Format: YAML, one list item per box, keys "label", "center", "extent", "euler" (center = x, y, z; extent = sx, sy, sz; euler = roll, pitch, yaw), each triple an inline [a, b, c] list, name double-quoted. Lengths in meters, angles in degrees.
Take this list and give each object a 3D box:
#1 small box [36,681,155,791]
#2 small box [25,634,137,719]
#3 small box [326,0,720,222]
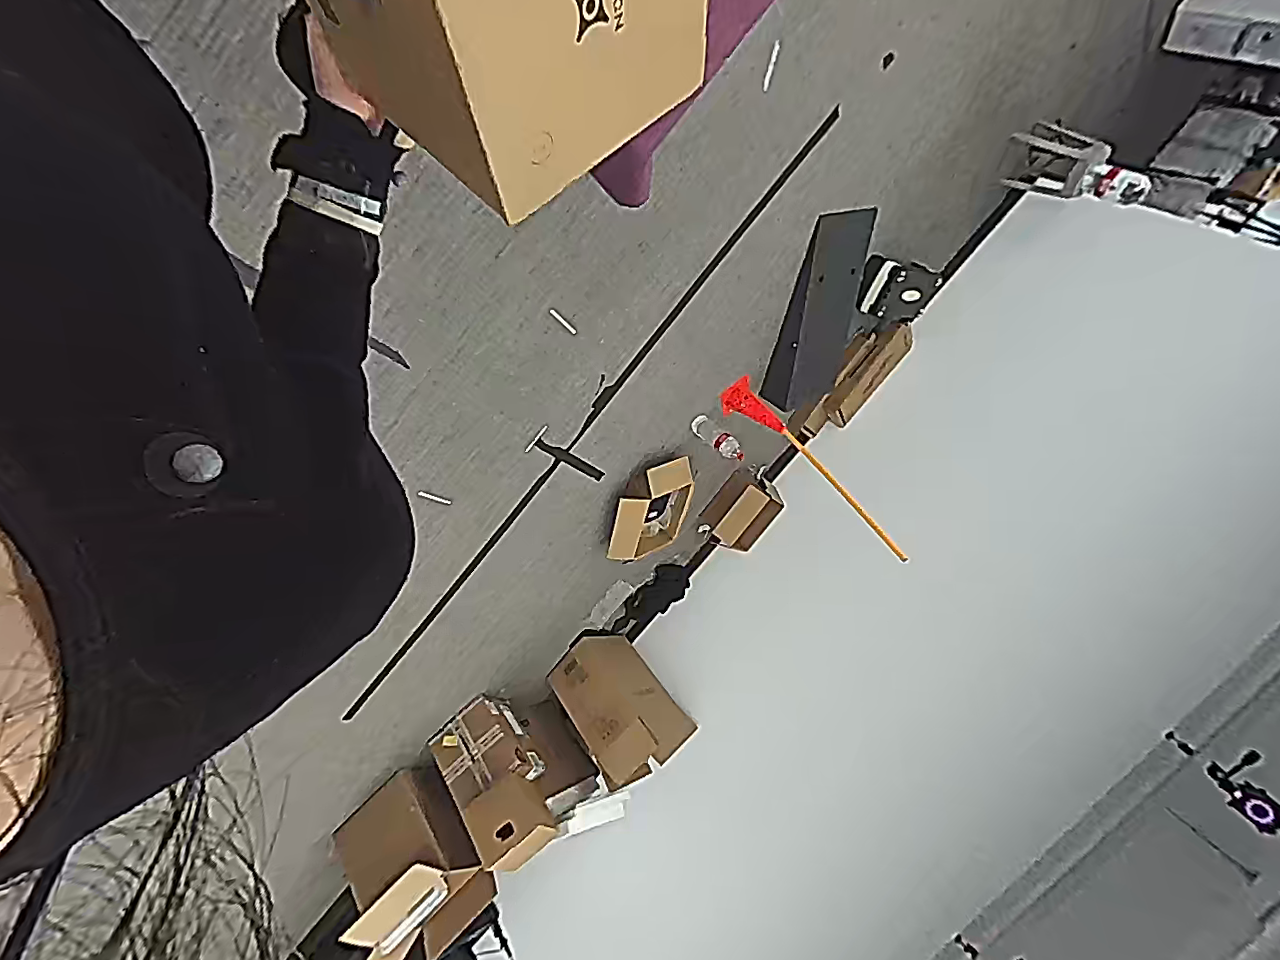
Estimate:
- label: "small box"
  center: [-1.401, 0.648, 1.391]
  extent: [0.168, 0.176, 0.179]
  euler: [-23, 142, -32]
- label: "small box"
  center: [-1.513, 0.557, 1.473]
  extent: [0.168, 0.176, 0.179]
  euler: [-25, 141, -31]
- label: "small box"
  center: [-0.072, -0.292, 0.293]
  extent: [0.179, 0.176, 0.168]
  euler: [-44, 165, -13]
